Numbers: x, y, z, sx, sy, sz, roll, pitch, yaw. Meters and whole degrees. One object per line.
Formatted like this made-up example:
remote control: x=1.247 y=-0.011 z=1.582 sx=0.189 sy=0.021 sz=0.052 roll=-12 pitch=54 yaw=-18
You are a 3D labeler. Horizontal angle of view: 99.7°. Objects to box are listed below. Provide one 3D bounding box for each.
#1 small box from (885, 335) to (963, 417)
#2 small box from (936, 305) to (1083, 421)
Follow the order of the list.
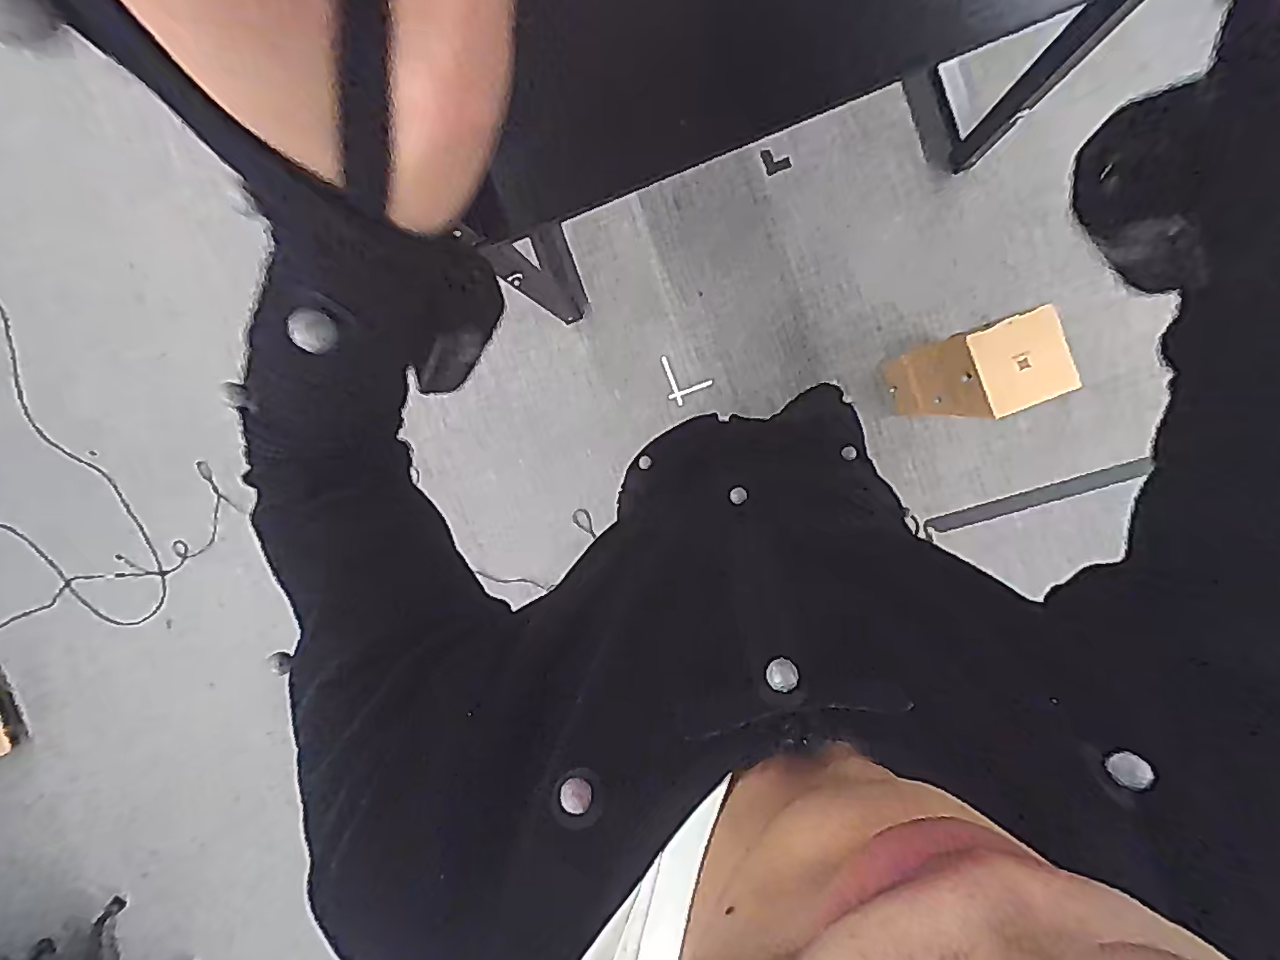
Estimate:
small box: x=0.784 y=-0.274 z=1.438 sx=0.179 sy=0.176 sz=0.168 roll=-21 pitch=93 yaw=9
small box: x=0.749 y=-0.234 z=1.115 sx=0.168 sy=0.176 sz=0.179 roll=-22 pitch=93 yaw=9
